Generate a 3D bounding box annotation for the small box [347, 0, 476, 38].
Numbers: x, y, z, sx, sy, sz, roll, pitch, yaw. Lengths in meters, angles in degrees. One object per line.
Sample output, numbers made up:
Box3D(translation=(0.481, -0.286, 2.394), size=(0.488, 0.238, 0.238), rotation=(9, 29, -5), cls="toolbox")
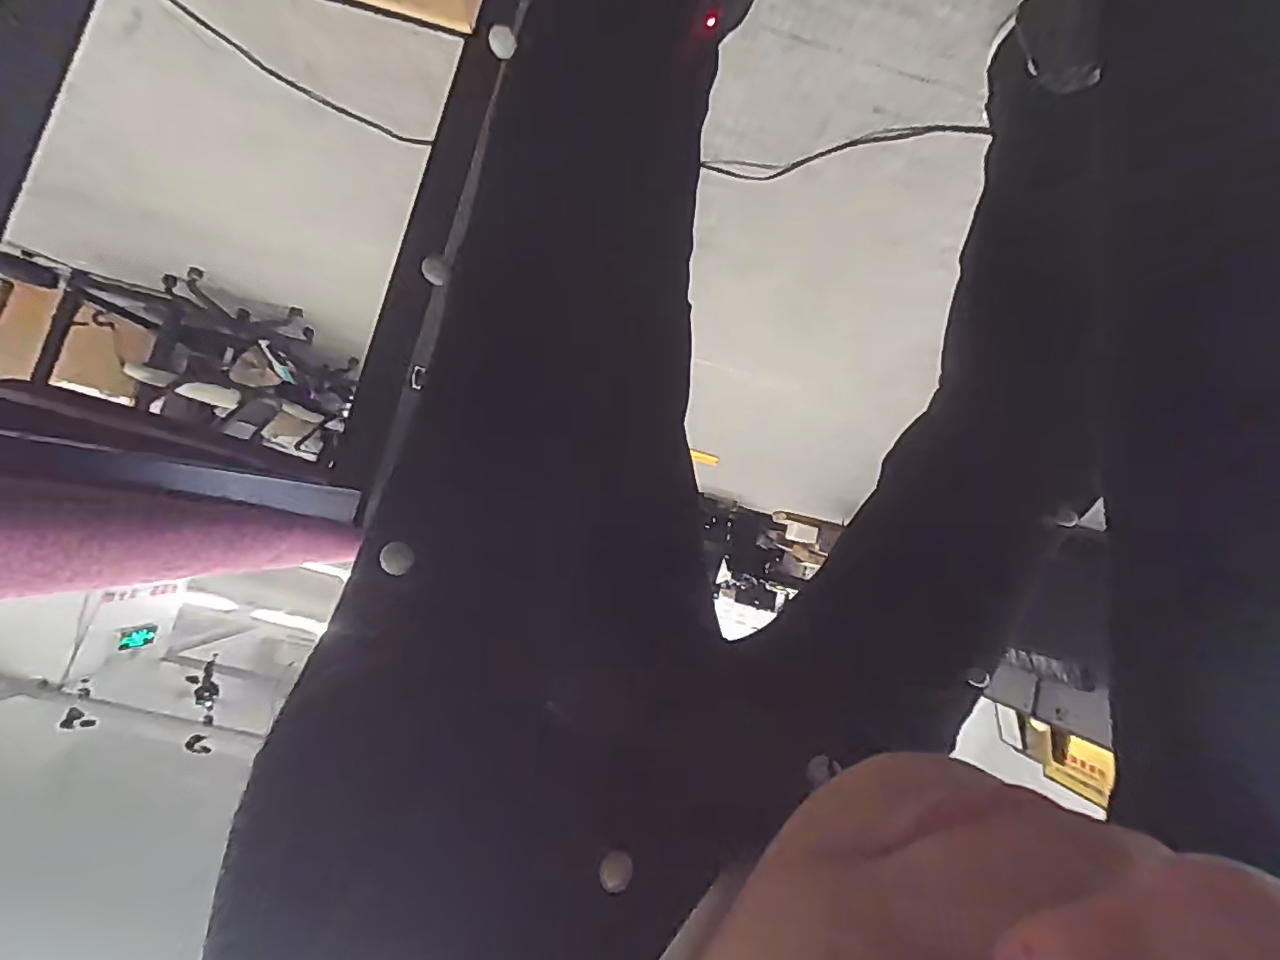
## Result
Box3D(translation=(-0.231, -0.580, 0.500), size=(0.168, 0.176, 0.179), rotation=(15, 173, -2), cls="small box")
